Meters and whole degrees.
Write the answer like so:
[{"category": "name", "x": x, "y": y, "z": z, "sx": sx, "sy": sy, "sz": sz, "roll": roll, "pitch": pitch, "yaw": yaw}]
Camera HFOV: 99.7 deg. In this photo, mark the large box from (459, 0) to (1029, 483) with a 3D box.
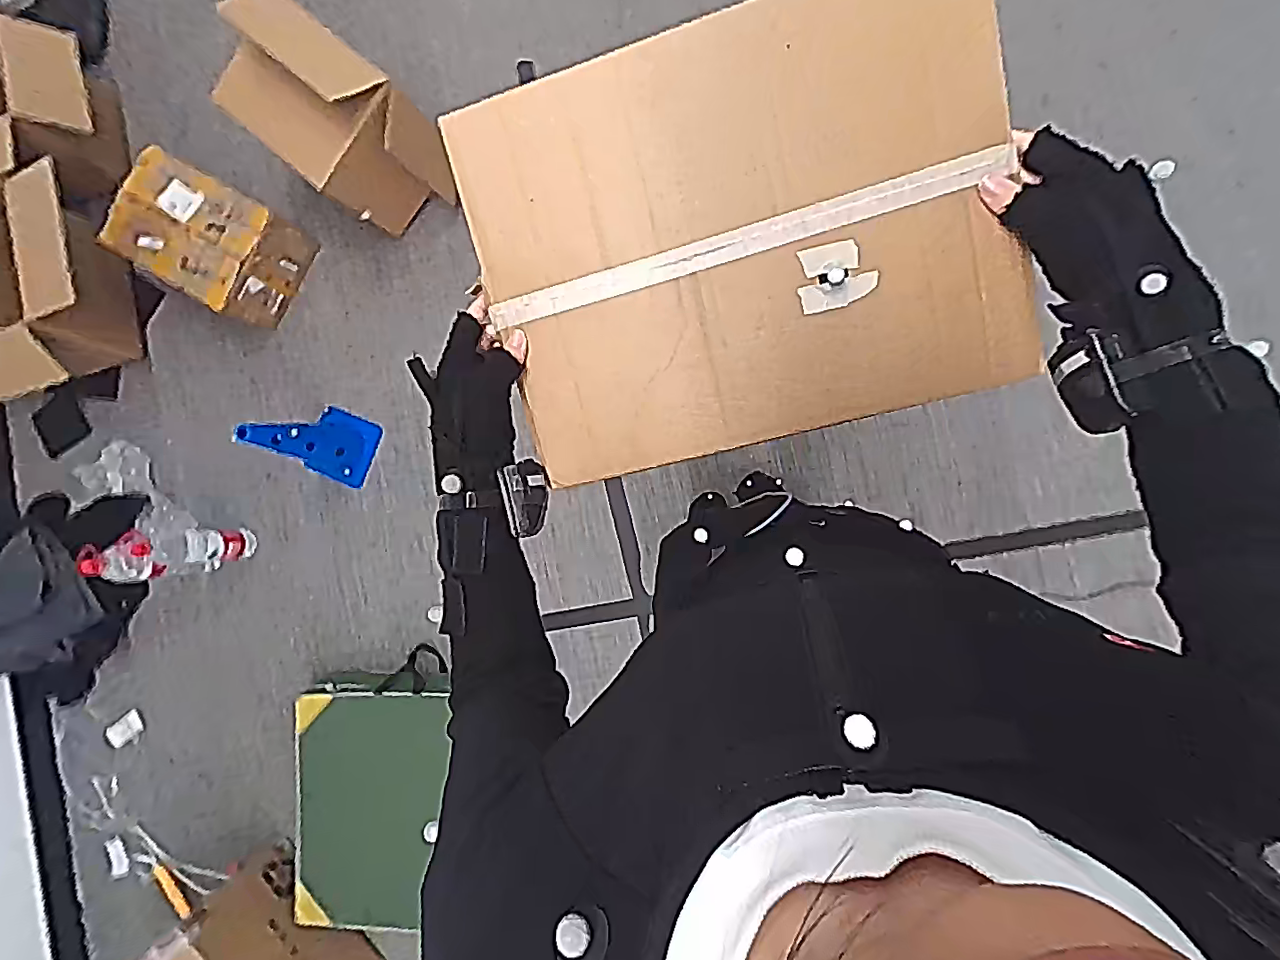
[{"category": "large box", "x": 0.094, "y": -0.216, "z": 0.577, "sx": 0.408, "sy": 0.320, "sz": 0.320, "roll": -14, "pitch": 100, "yaw": 9}]
